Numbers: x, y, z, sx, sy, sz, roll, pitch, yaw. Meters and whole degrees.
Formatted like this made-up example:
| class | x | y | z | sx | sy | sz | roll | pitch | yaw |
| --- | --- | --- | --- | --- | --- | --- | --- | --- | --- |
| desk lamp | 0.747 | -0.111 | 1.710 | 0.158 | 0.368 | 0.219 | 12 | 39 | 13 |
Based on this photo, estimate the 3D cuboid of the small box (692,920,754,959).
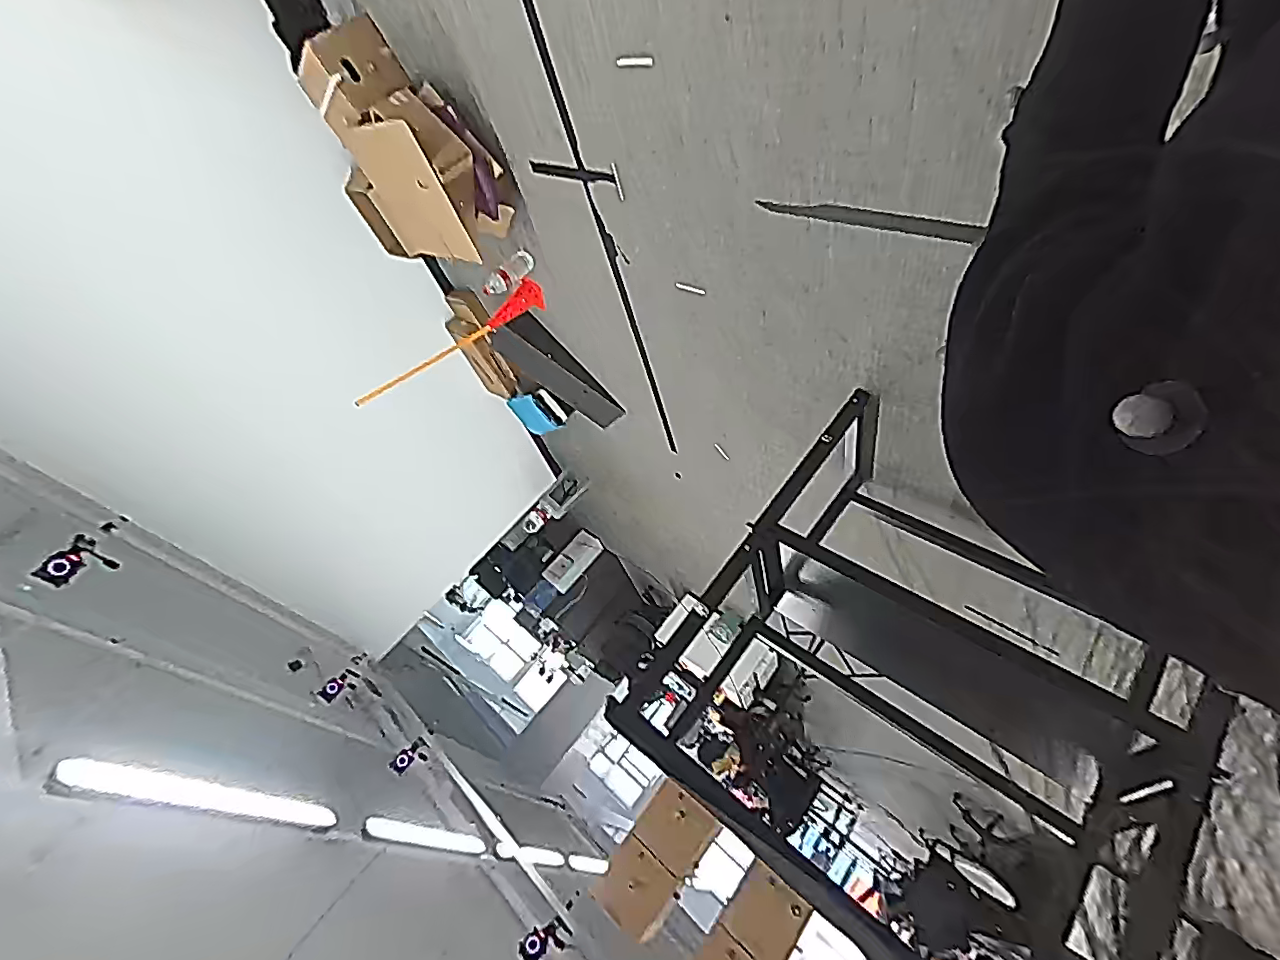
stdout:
| class | x | y | z | sx | sy | sz | roll | pitch | yaw |
| --- | --- | --- | --- | --- | --- | --- | --- | --- | --- |
| small box | 0.206 | 1.151 | 1.241 | 0.168 | 0.176 | 0.179 | 28 | 157 | 32 |

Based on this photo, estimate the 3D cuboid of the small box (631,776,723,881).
| class | x | y | z | sx | sy | sz | roll | pitch | yaw |
| --- | --- | --- | --- | --- | --- | --- | --- | --- | --- |
| small box | 0.107 | 0.924 | 1.441 | 0.168 | 0.176 | 0.179 | 28 | 157 | 32 |

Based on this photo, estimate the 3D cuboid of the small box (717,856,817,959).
| class | x | y | z | sx | sy | sz | roll | pitch | yaw |
| --- | --- | --- | --- | --- | --- | --- | --- | --- | --- |
| small box | 0.309 | 1.034 | 1.290 | 0.168 | 0.176 | 0.179 | 29 | 159 | 33 |

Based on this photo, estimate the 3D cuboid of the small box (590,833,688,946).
| class | x | y | z | sx | sy | sz | roll | pitch | yaw |
| --- | --- | --- | --- | --- | --- | --- | --- | --- | --- |
| small box | 0.003 | 1.041 | 1.390 | 0.168 | 0.176 | 0.179 | 29 | 157 | 31 |
